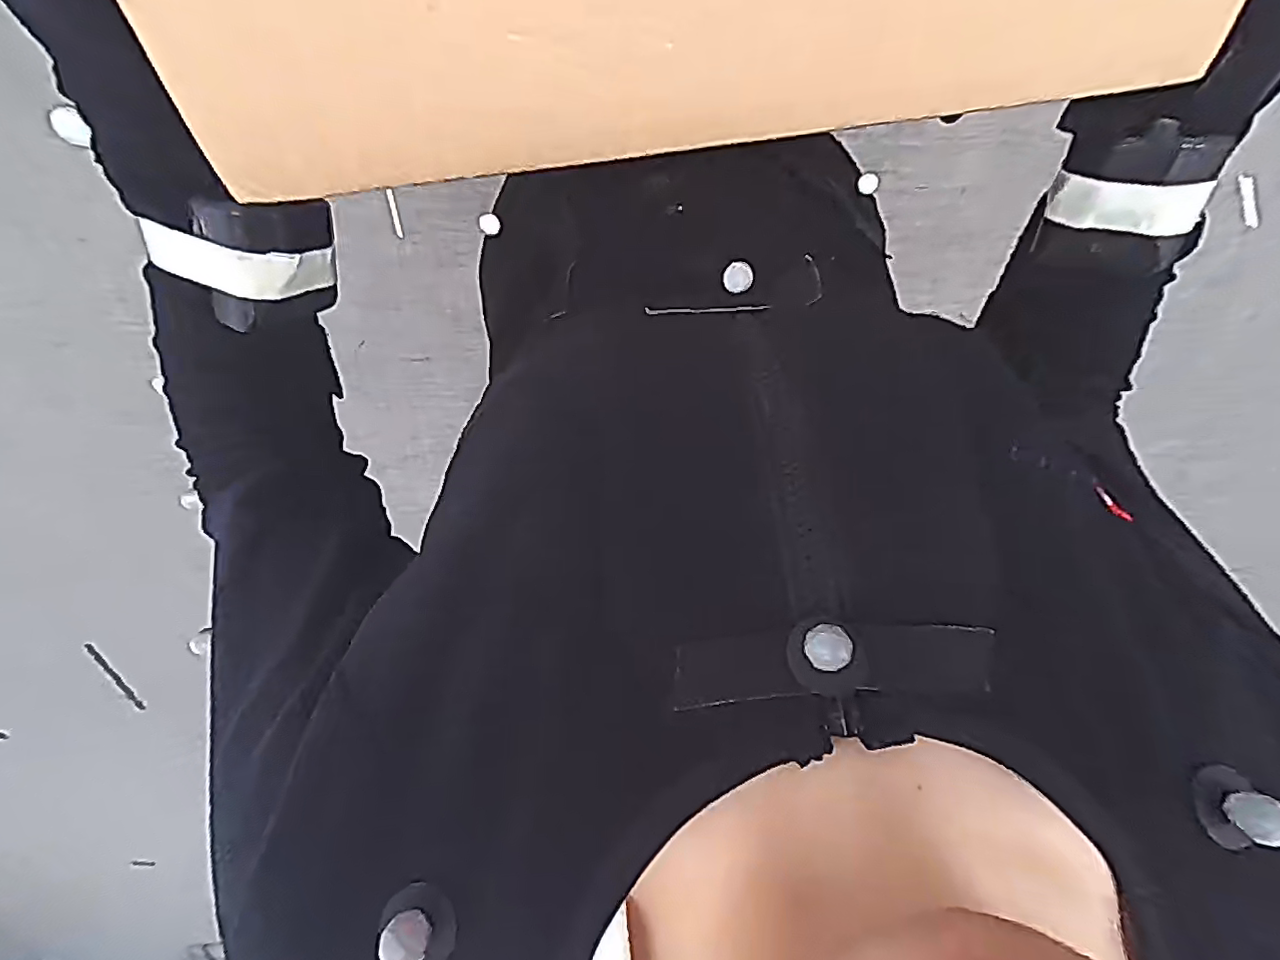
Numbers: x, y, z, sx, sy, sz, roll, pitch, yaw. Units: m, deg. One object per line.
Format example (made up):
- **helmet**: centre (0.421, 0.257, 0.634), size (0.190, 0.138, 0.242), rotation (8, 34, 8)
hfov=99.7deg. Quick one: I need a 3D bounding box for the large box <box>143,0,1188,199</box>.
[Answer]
- **large box**: centre (0.001, -0.361, 0.234), size (0.408, 0.320, 0.320), rotation (-8, 134, 0)
